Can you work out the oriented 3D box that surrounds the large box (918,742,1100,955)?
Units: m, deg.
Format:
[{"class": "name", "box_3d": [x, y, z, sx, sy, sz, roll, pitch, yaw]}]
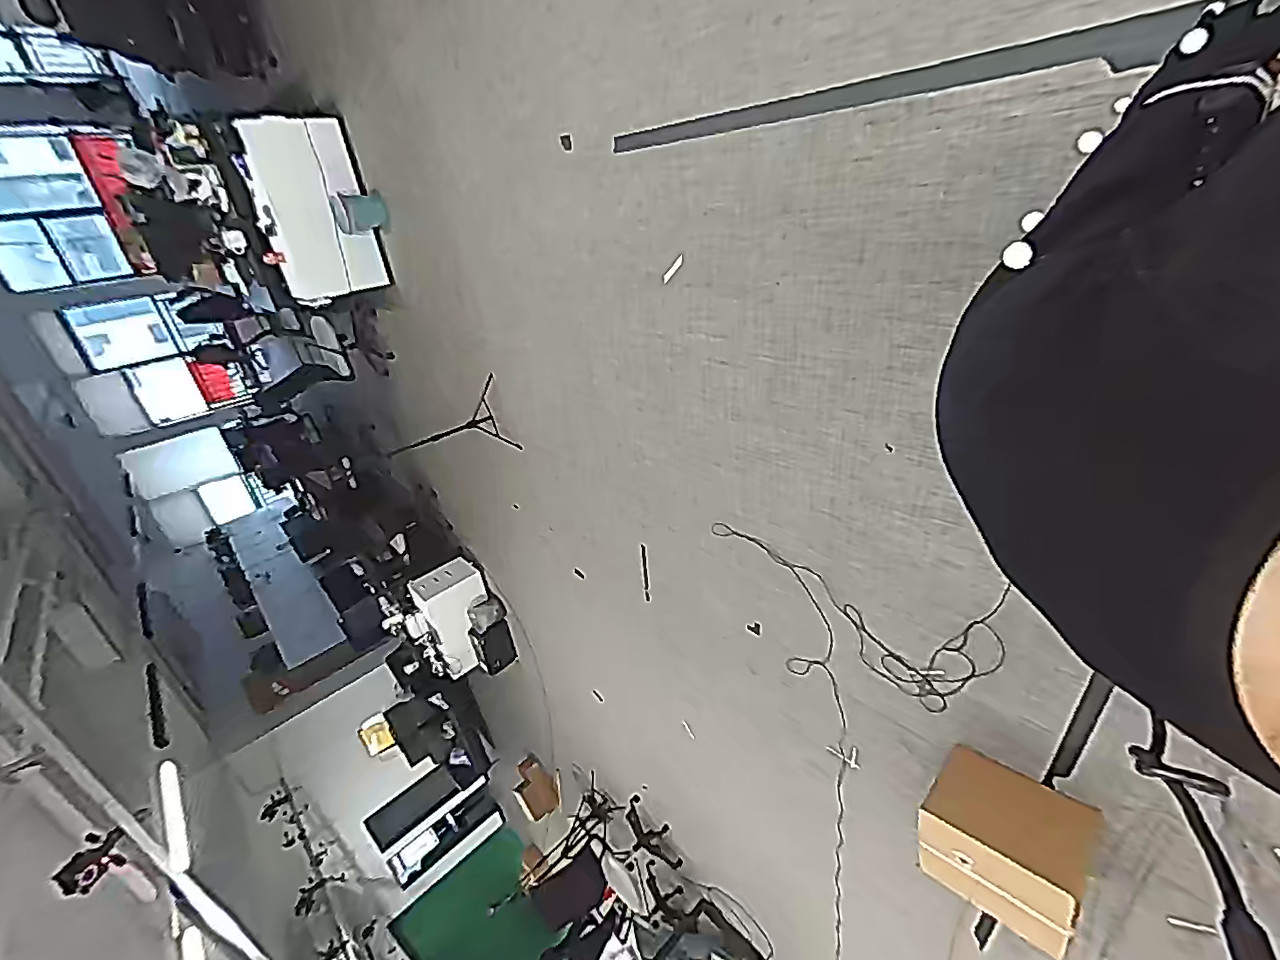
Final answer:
[{"class": "large box", "box_3d": [1.153, 1.131, 1.709, 0.408, 0.320, 0.320, 15, 125, 47]}]
